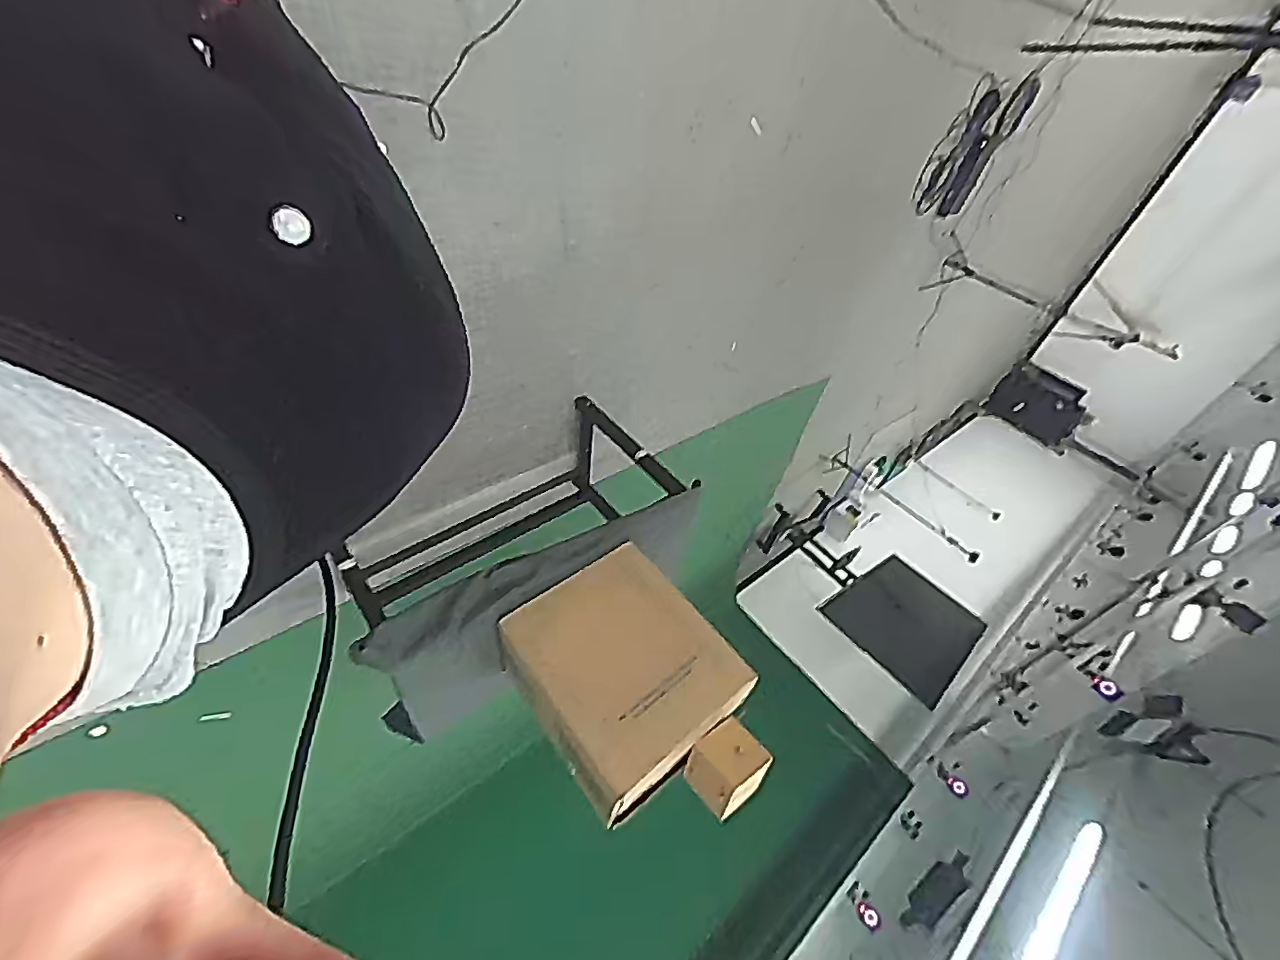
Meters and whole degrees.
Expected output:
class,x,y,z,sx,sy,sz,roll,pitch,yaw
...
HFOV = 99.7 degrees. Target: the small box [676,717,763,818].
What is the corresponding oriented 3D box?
class,x,y,z,sx,sy,sz,roll,pitch,yaw
small box,0.237,0.861,1.635,0.179,0.176,0.168,-17,130,-39
